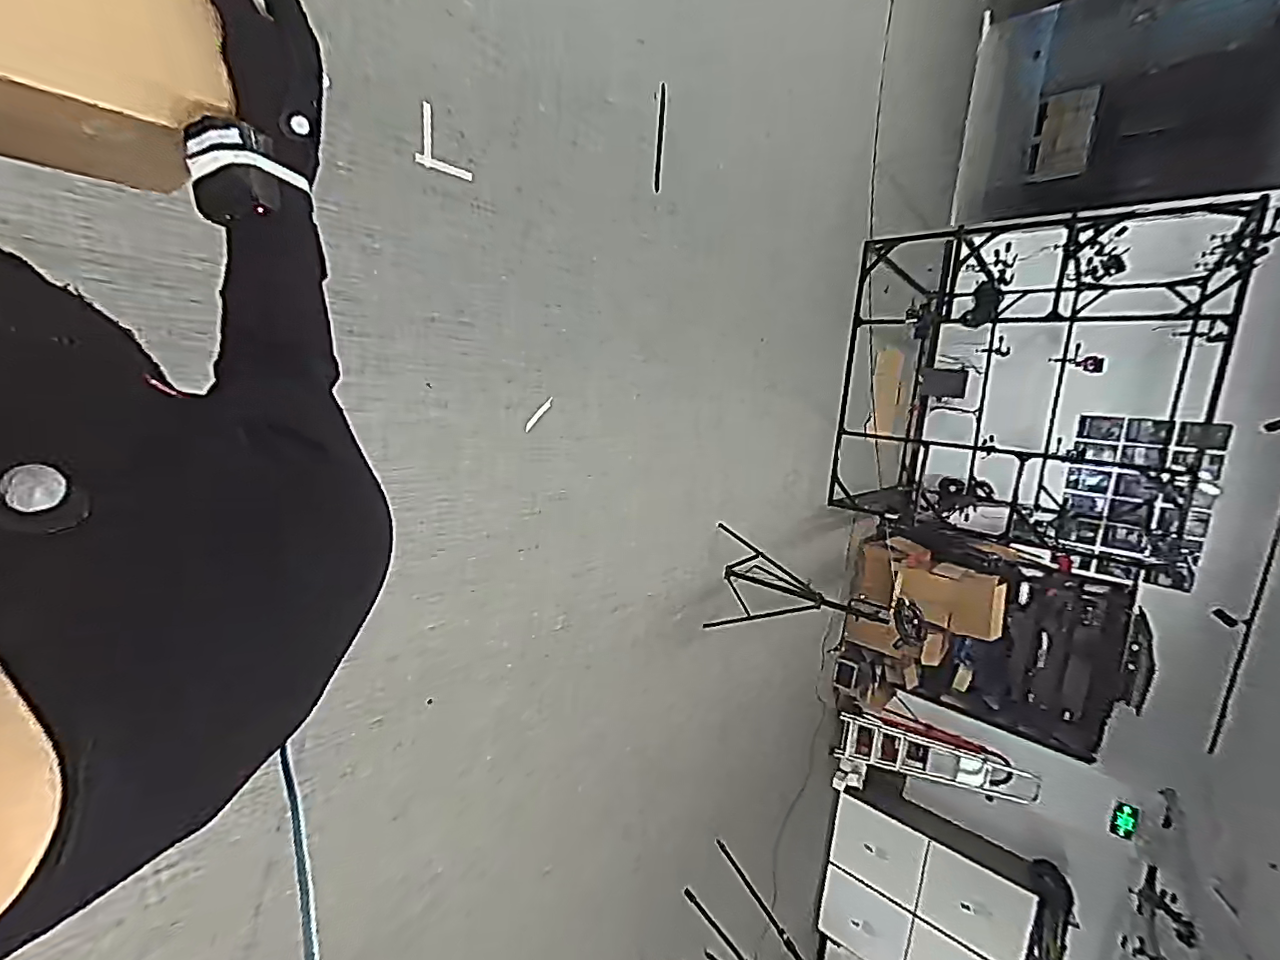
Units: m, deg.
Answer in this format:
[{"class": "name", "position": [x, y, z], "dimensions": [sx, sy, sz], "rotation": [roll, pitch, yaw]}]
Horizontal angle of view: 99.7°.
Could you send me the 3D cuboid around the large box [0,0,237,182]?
[{"class": "large box", "position": [-0.563, -0.439, 0.359], "dimensions": [0.408, 0.320, 0.320], "rotation": [-9, 110, -49]}]
